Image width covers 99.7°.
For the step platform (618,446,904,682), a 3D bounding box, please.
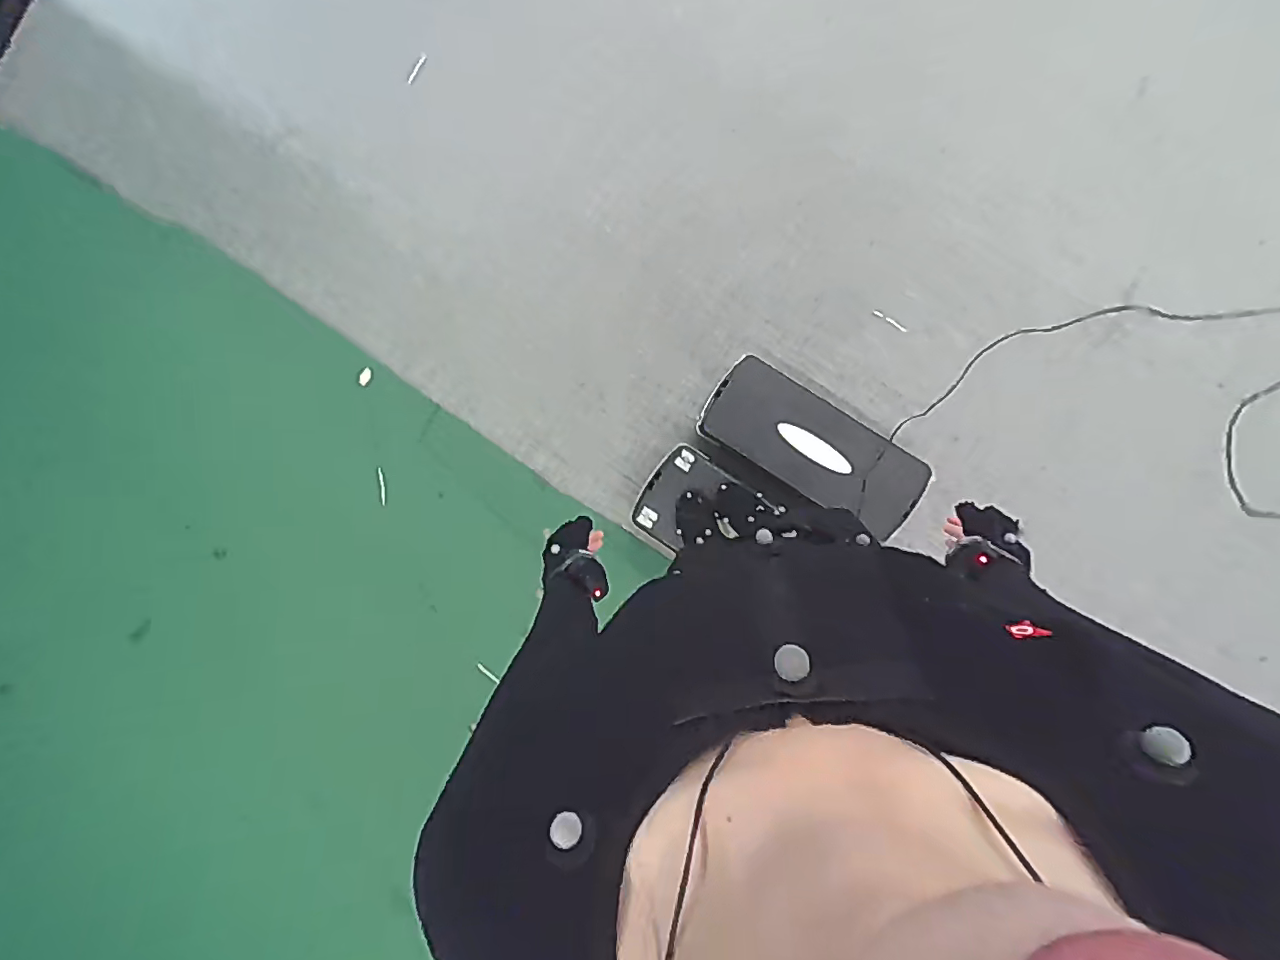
[{"bbox_3d":[0.289,0.198,1.380,0.684,0.204,0.286,34,93,4],"label":"step platform"}]
